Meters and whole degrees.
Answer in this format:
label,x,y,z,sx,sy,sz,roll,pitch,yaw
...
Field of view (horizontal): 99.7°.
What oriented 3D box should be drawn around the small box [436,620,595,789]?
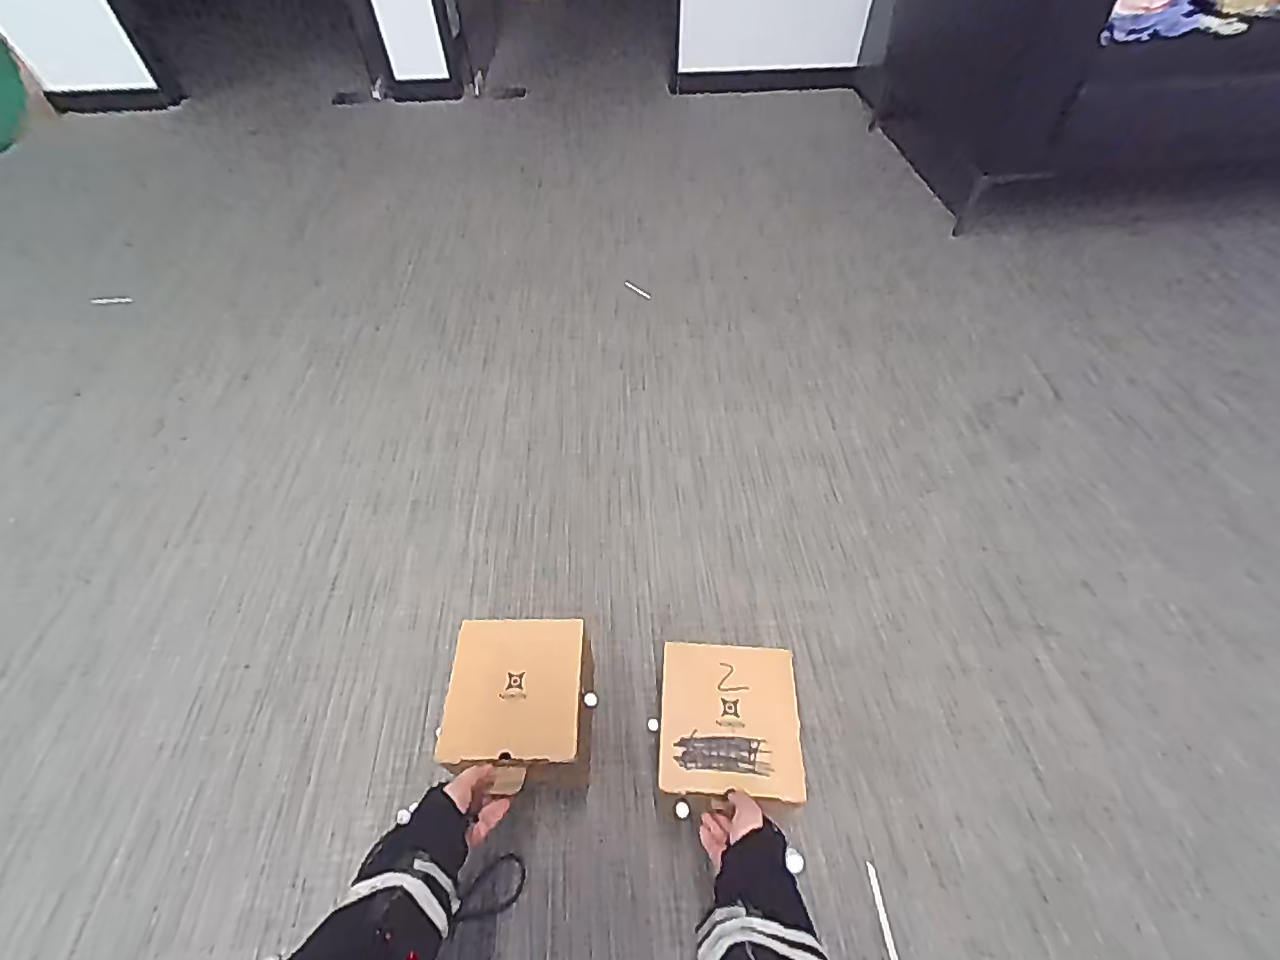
label,x,y,z,sx,sy,sz,roll,pitch,yaw
small box,-0.155,0.309,0.741,0.168,0.176,0.179,-3,52,2
